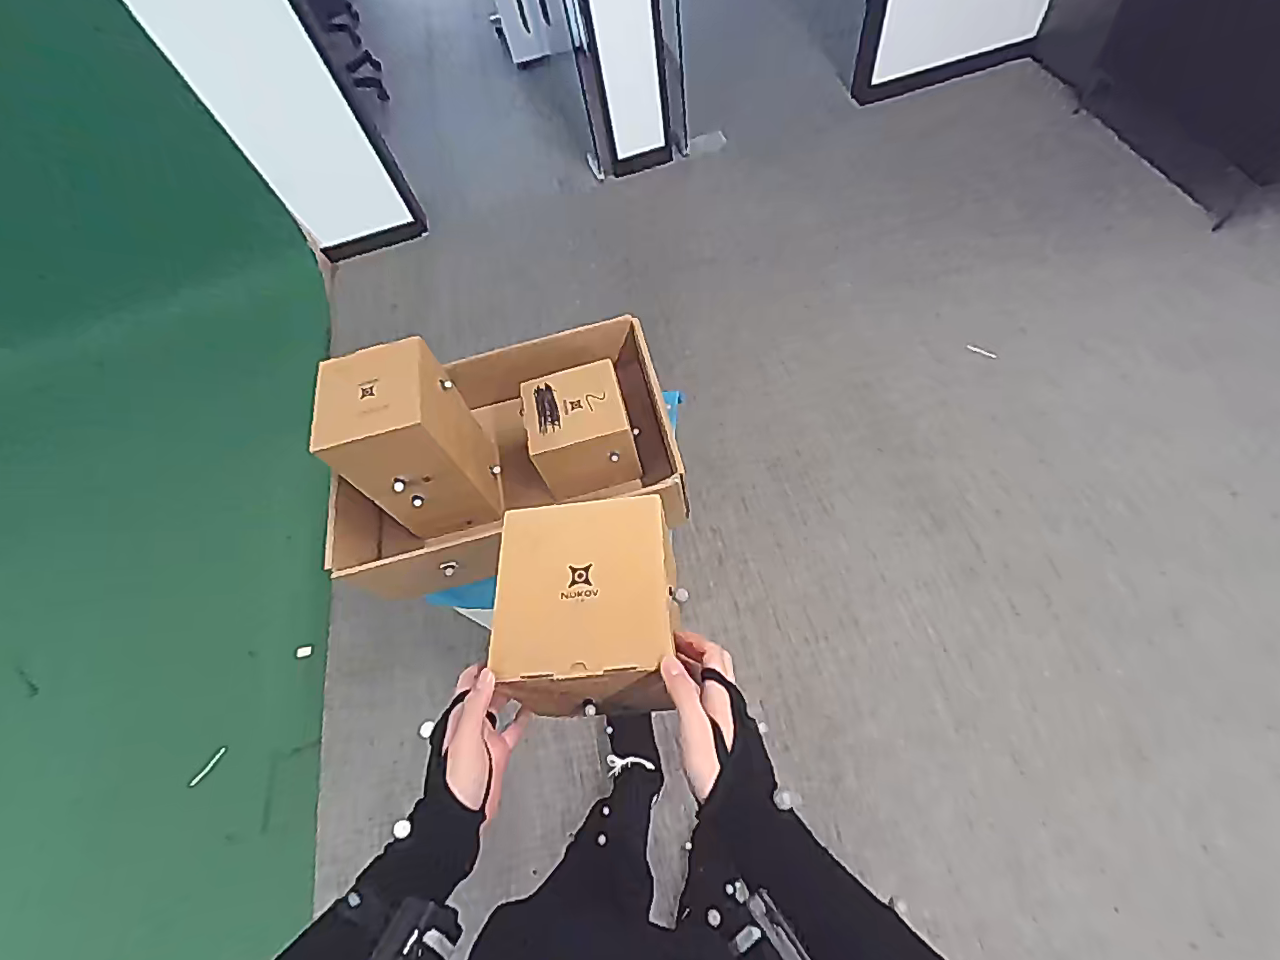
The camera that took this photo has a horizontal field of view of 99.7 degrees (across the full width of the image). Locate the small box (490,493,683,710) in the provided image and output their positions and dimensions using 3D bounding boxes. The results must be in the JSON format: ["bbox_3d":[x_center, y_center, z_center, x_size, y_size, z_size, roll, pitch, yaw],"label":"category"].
[{"bbox_3d":[-0.045,0.135,0.581,0.168,0.176,0.179,-6,57,5],"label":"small box"}]

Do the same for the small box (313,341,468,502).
[{"bbox_3d":[-0.391,-0.090,0.876,0.168,0.176,0.179,-14,60,1],"label":"small box"}]
